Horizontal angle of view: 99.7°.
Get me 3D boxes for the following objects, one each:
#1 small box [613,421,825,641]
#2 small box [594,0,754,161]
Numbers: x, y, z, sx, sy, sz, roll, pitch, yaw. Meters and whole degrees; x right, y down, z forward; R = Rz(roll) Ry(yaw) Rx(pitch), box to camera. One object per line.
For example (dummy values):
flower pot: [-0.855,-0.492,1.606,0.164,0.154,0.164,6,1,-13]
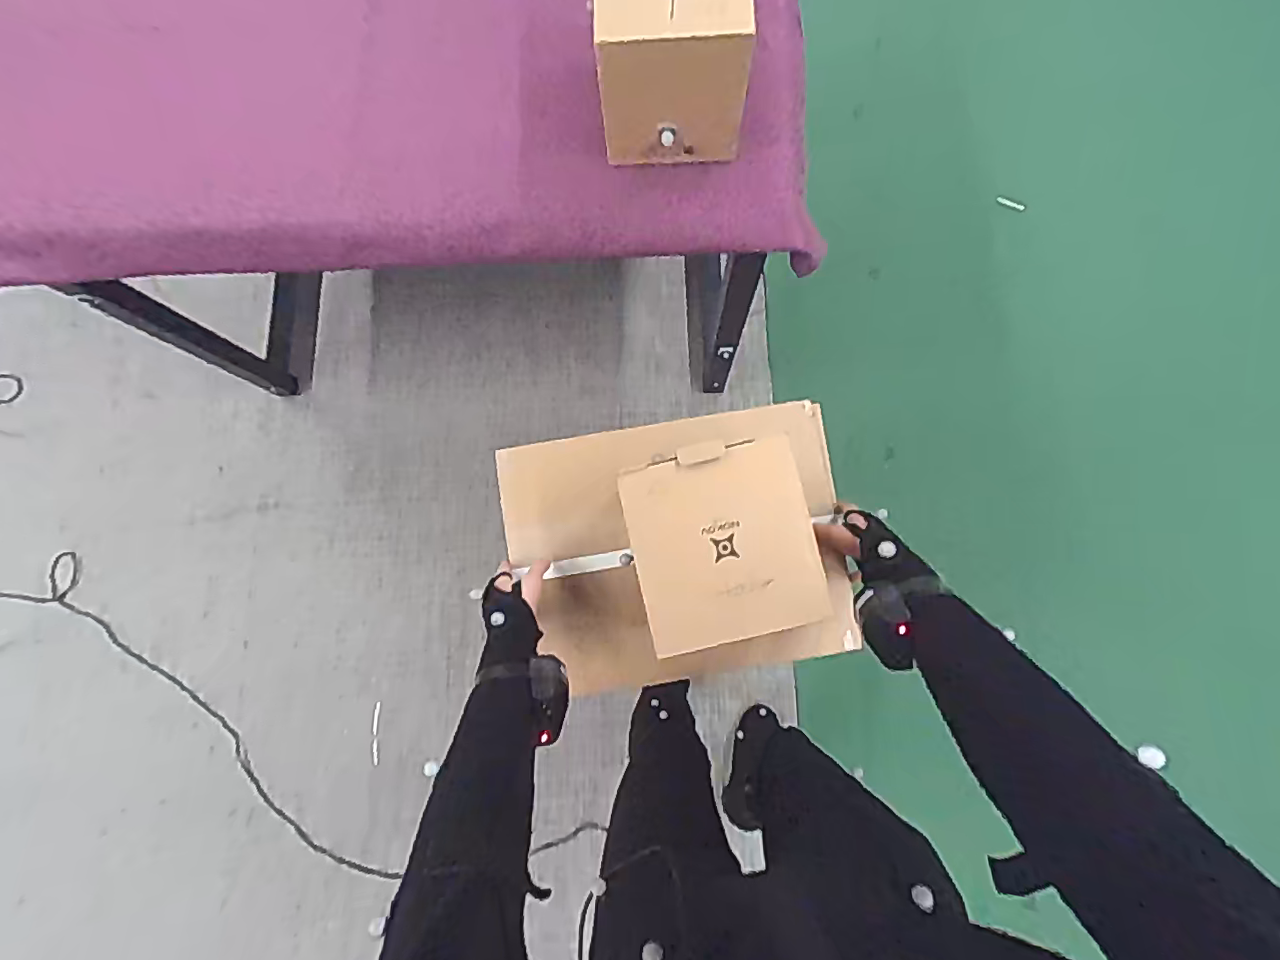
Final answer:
small box: [0.070,0.053,0.571,0.168,0.176,0.179,-13,85,0]
small box: [0.037,-0.517,0.642,0.168,0.176,0.179,-1,79,3]
